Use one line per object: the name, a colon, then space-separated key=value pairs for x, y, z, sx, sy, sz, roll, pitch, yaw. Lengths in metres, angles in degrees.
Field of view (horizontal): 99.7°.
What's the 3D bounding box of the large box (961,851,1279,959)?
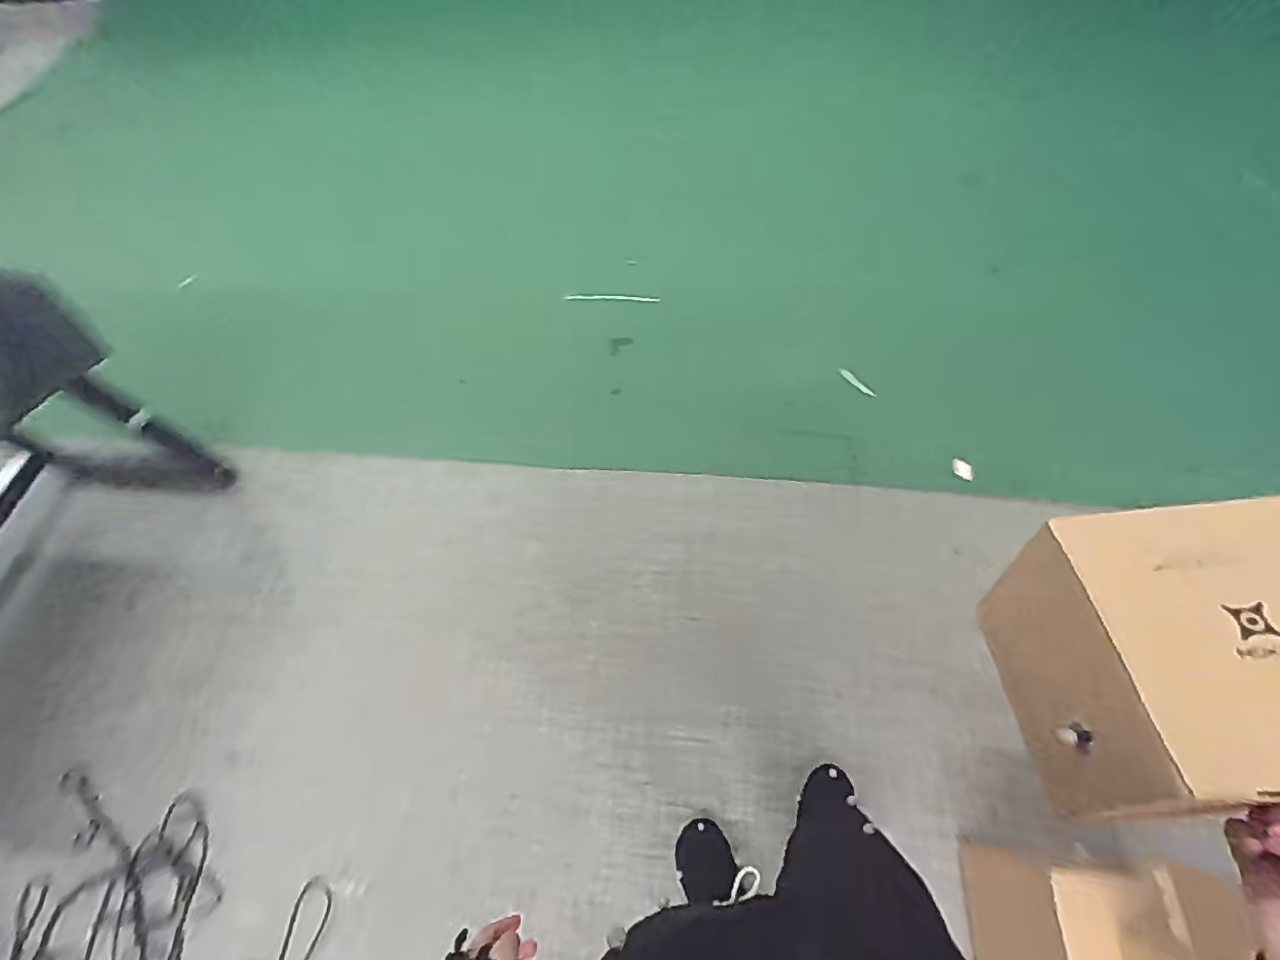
large box: x=0.743 y=0.825 z=0.809 sx=0.320 sy=0.320 sz=0.408 roll=1 pitch=63 yaw=7
